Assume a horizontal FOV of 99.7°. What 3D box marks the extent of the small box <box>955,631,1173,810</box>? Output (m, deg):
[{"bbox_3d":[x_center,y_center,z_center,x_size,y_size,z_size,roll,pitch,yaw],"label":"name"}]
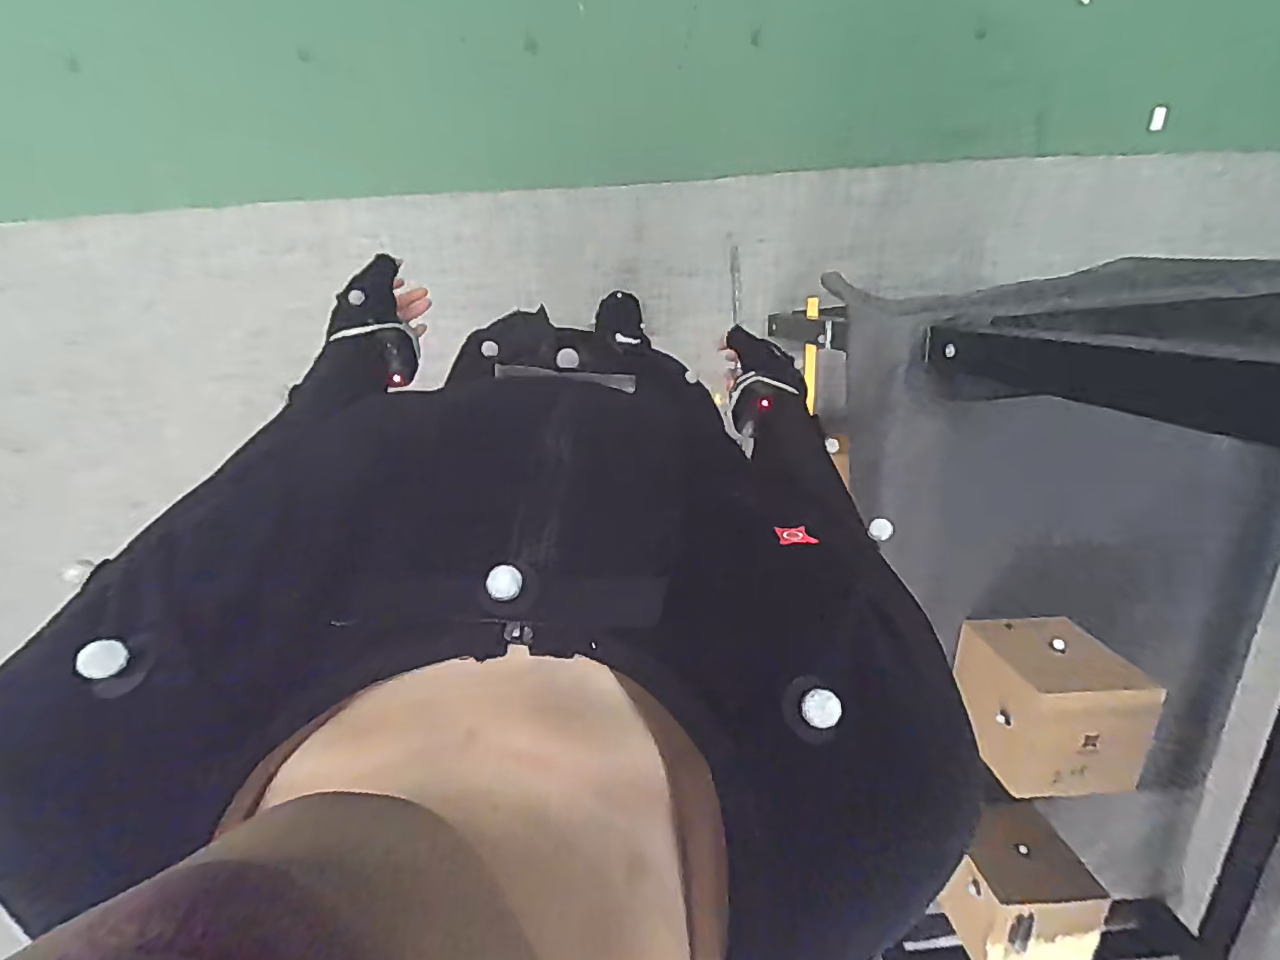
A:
[{"bbox_3d":[0.582,0.330,0.772,0.168,0.176,0.179,-2,108,-1],"label":"small box"}]
